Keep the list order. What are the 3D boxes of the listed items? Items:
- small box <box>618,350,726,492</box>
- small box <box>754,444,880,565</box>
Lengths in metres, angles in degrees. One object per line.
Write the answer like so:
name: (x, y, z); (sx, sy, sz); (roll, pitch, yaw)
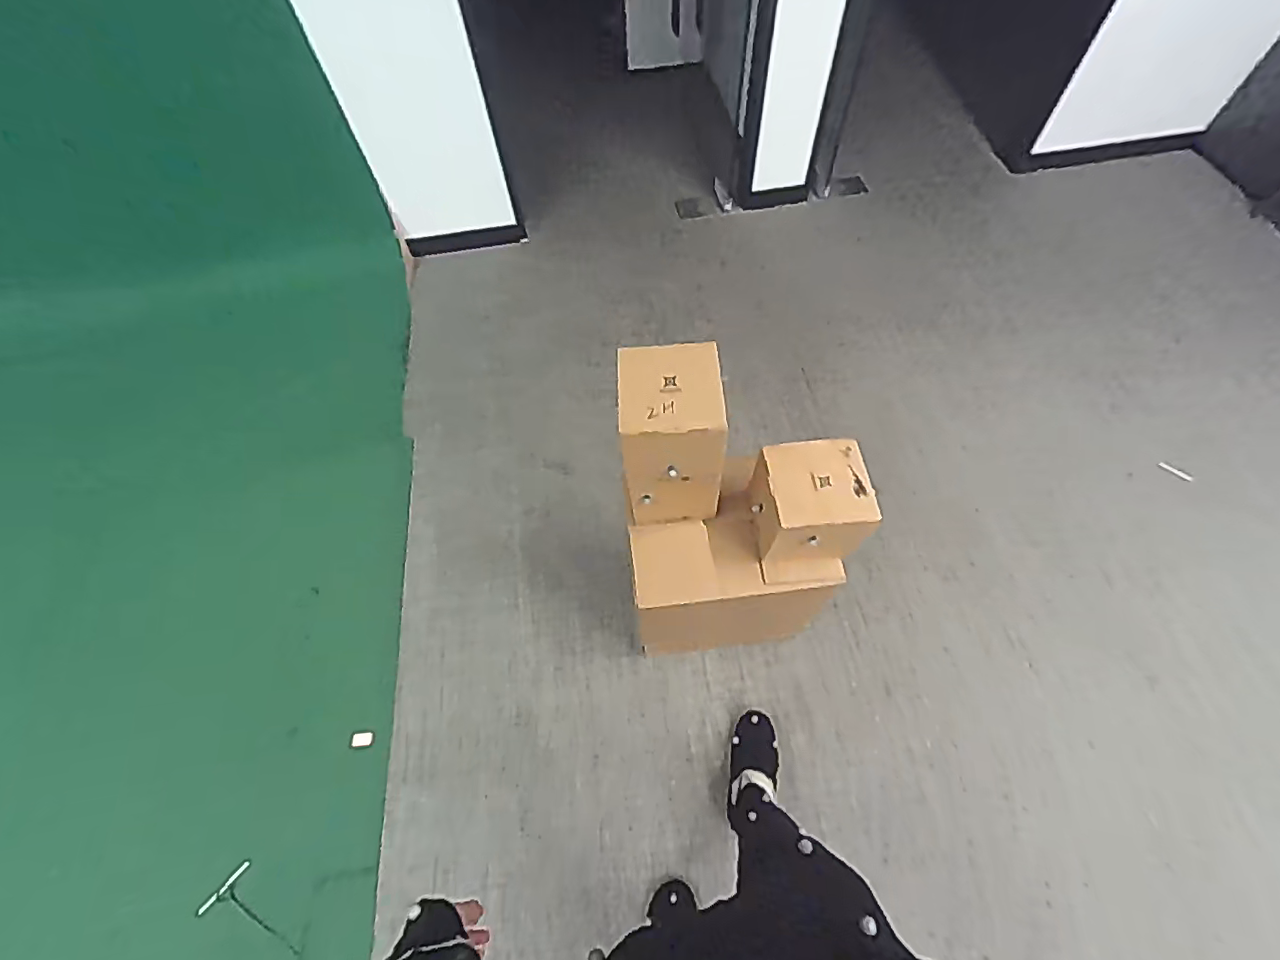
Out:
small box: (0.051, -0.097, 0.923); (0.168, 0.176, 0.179); (-3, 60, 3)
small box: (0.314, 0.051, 1.009); (0.179, 0.176, 0.168); (-5, 62, 0)
